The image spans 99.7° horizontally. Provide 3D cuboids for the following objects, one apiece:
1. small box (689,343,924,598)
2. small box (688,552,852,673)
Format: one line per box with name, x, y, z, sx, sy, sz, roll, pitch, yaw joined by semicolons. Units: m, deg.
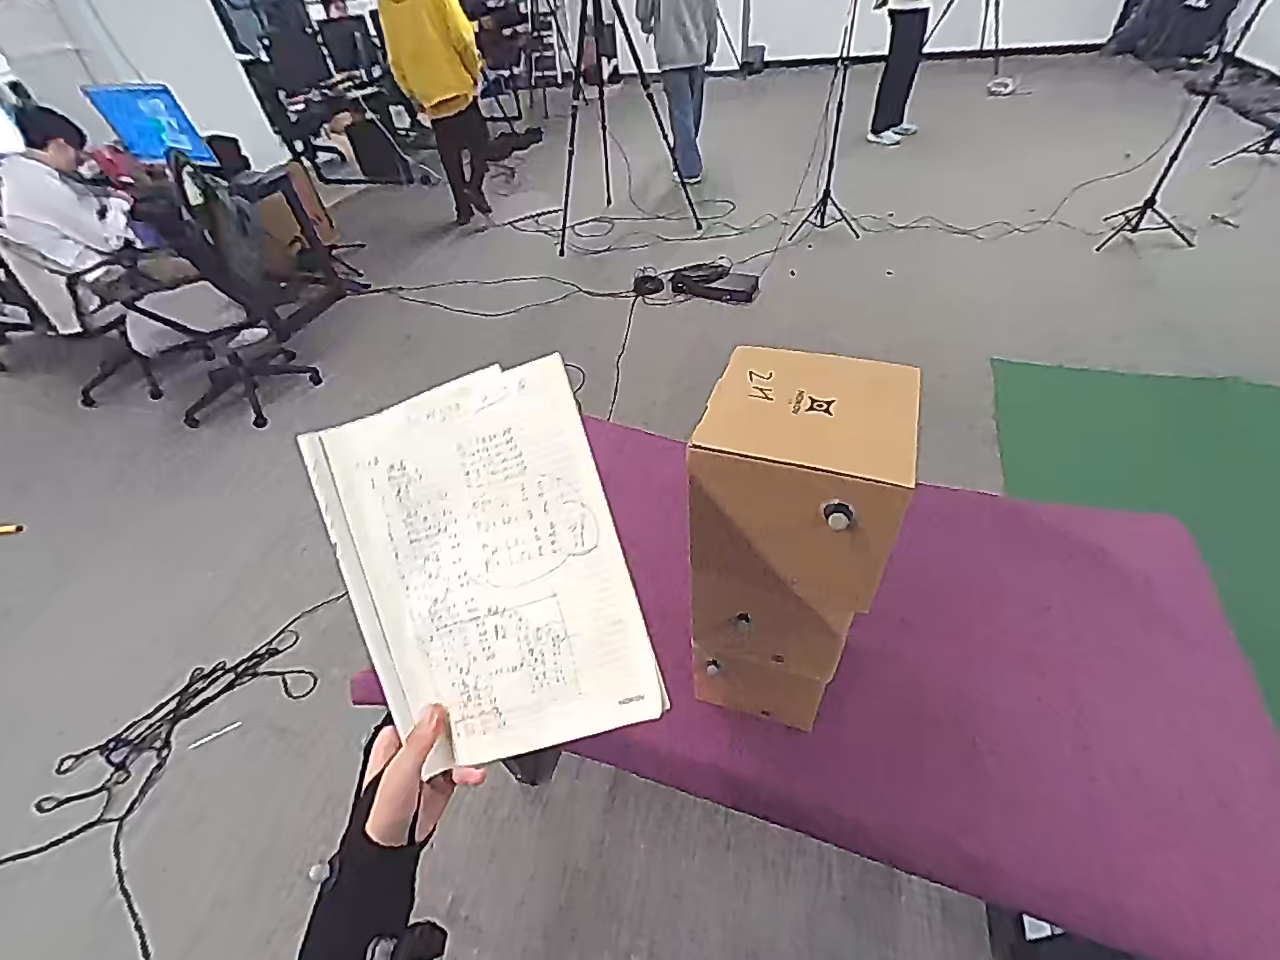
small box;0.156;-0.009;0.527;0.179;0.176;0.168;13;47;19
small box;0.163;0.102;0.649;0.168;0.176;0.179;11;46;17
